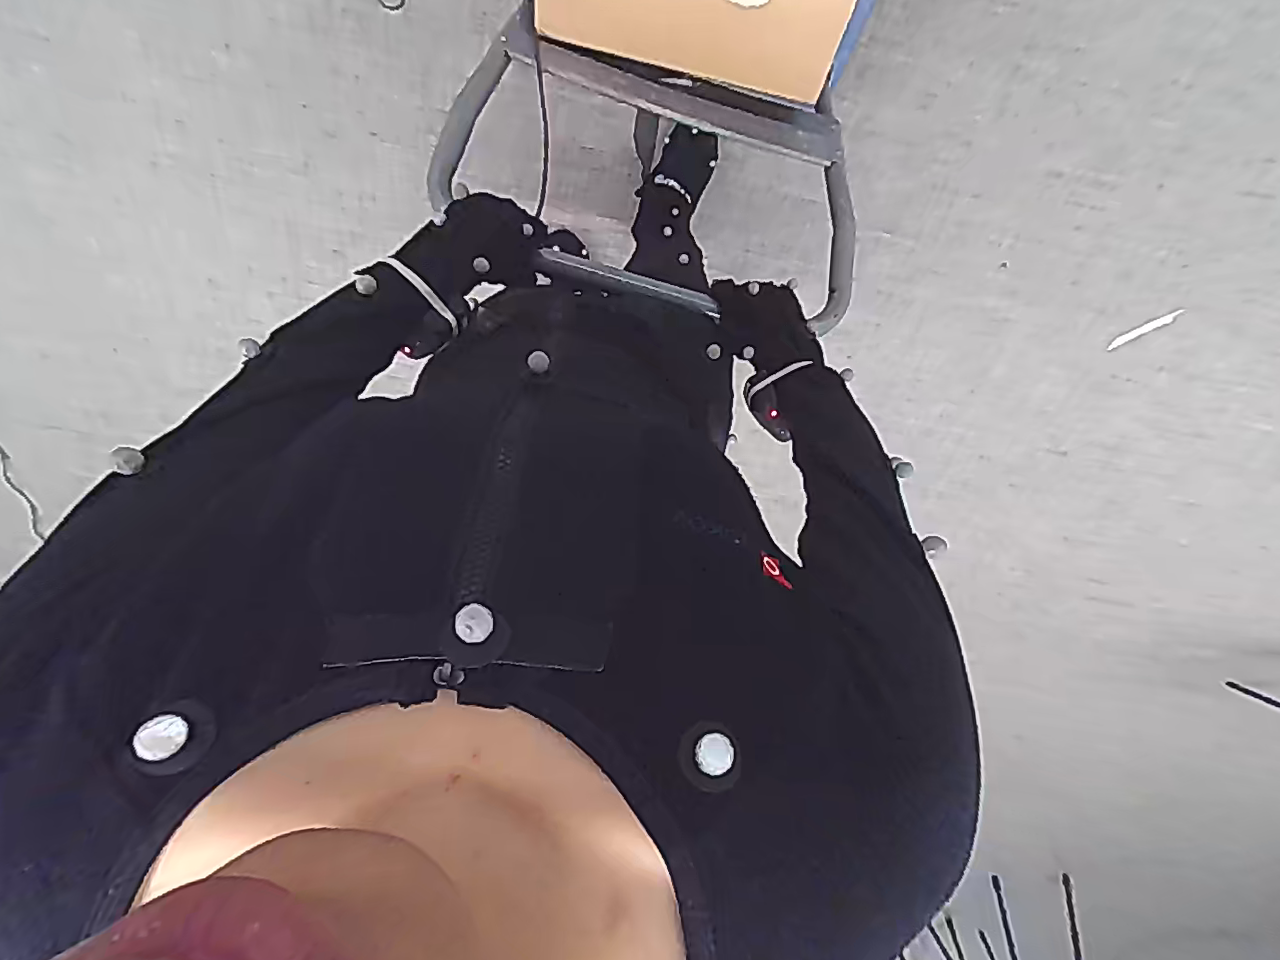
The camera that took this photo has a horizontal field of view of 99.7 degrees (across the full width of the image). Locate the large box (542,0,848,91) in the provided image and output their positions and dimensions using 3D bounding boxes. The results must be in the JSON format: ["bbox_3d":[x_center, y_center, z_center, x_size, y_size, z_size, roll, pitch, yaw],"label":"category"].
[{"bbox_3d":[0.093,-0.796,0.730,0.408,0.320,0.320,10,144,-5],"label":"large box"}]
